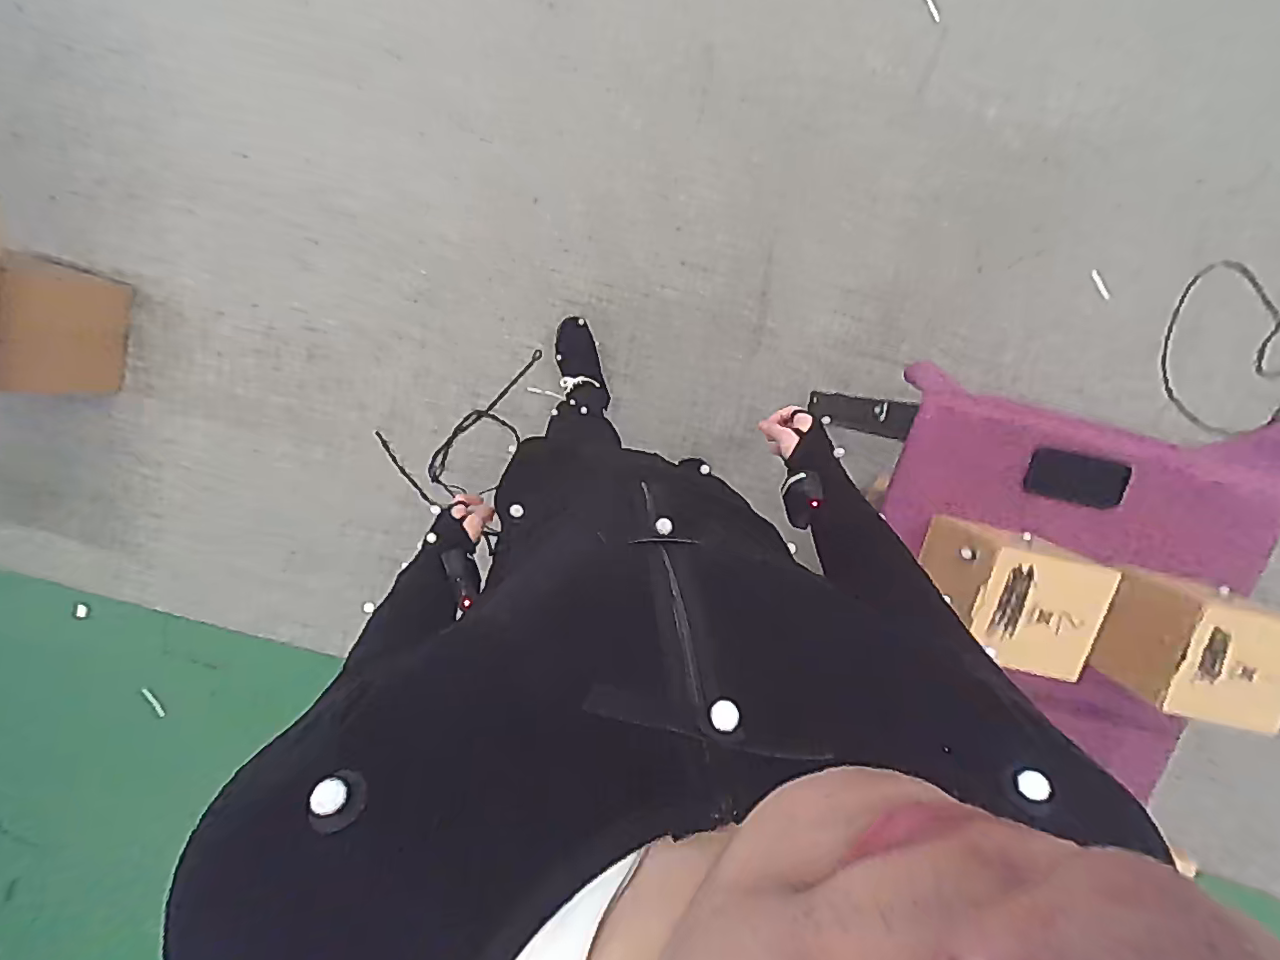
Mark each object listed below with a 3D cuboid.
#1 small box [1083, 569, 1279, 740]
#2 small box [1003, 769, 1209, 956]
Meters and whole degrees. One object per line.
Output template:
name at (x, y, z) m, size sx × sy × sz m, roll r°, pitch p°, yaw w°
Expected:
small box at (0.825, 0.246, 0.806) m, size 0.179 × 0.176 × 0.168 m, roll 13°, pitch 101°, yaw 0°
small box at (0.734, 0.611, 0.884) m, size 0.179 × 0.176 × 0.168 m, roll 15°, pitch 101°, yaw 0°
